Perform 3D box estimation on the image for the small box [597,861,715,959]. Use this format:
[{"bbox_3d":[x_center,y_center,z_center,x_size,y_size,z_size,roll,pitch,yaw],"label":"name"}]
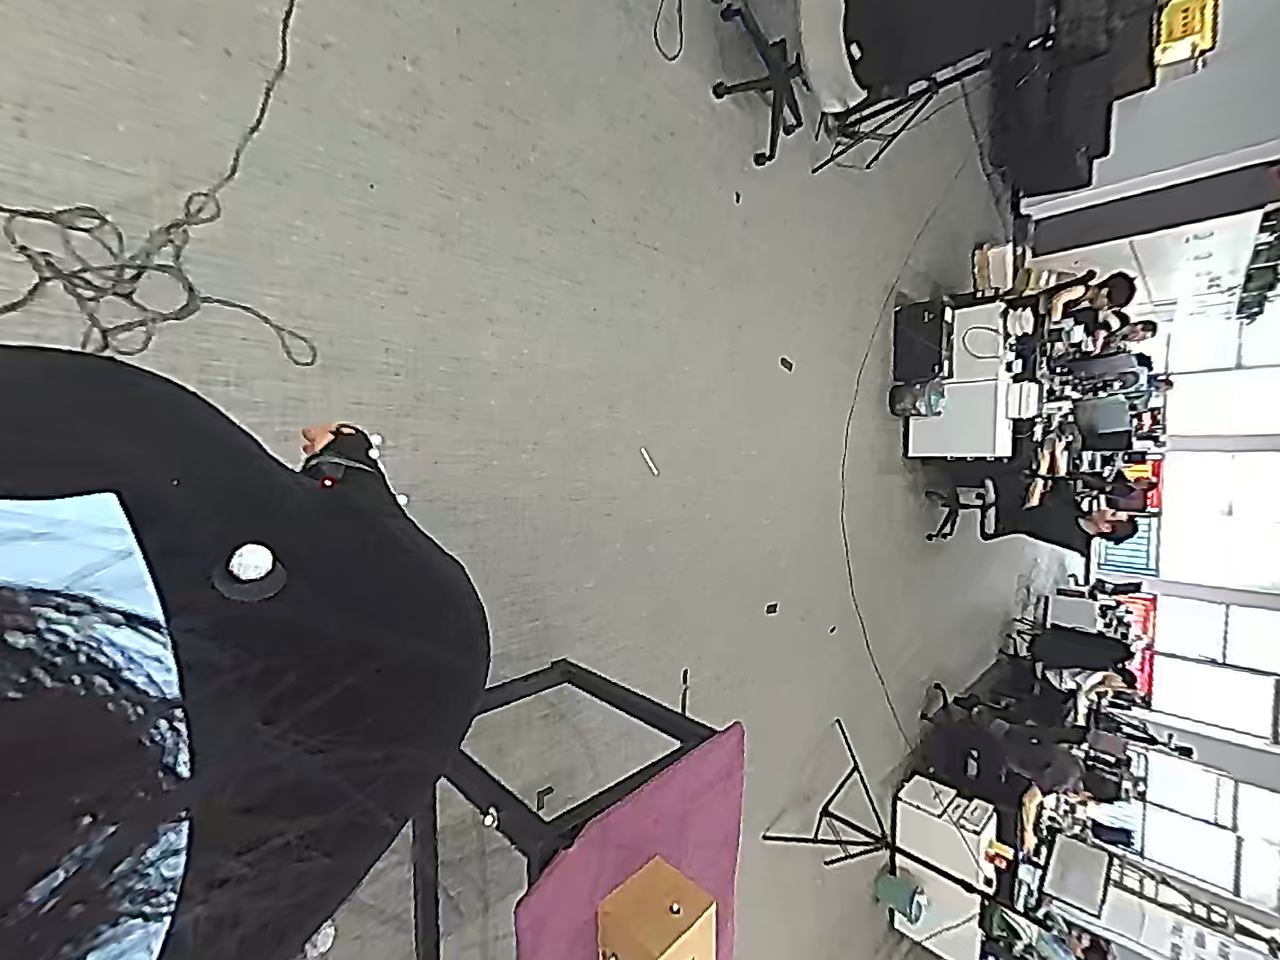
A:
[{"bbox_3d":[0.032,0.926,1.092,0.179,0.176,0.168,-5,97,-44],"label":"small box"}]
